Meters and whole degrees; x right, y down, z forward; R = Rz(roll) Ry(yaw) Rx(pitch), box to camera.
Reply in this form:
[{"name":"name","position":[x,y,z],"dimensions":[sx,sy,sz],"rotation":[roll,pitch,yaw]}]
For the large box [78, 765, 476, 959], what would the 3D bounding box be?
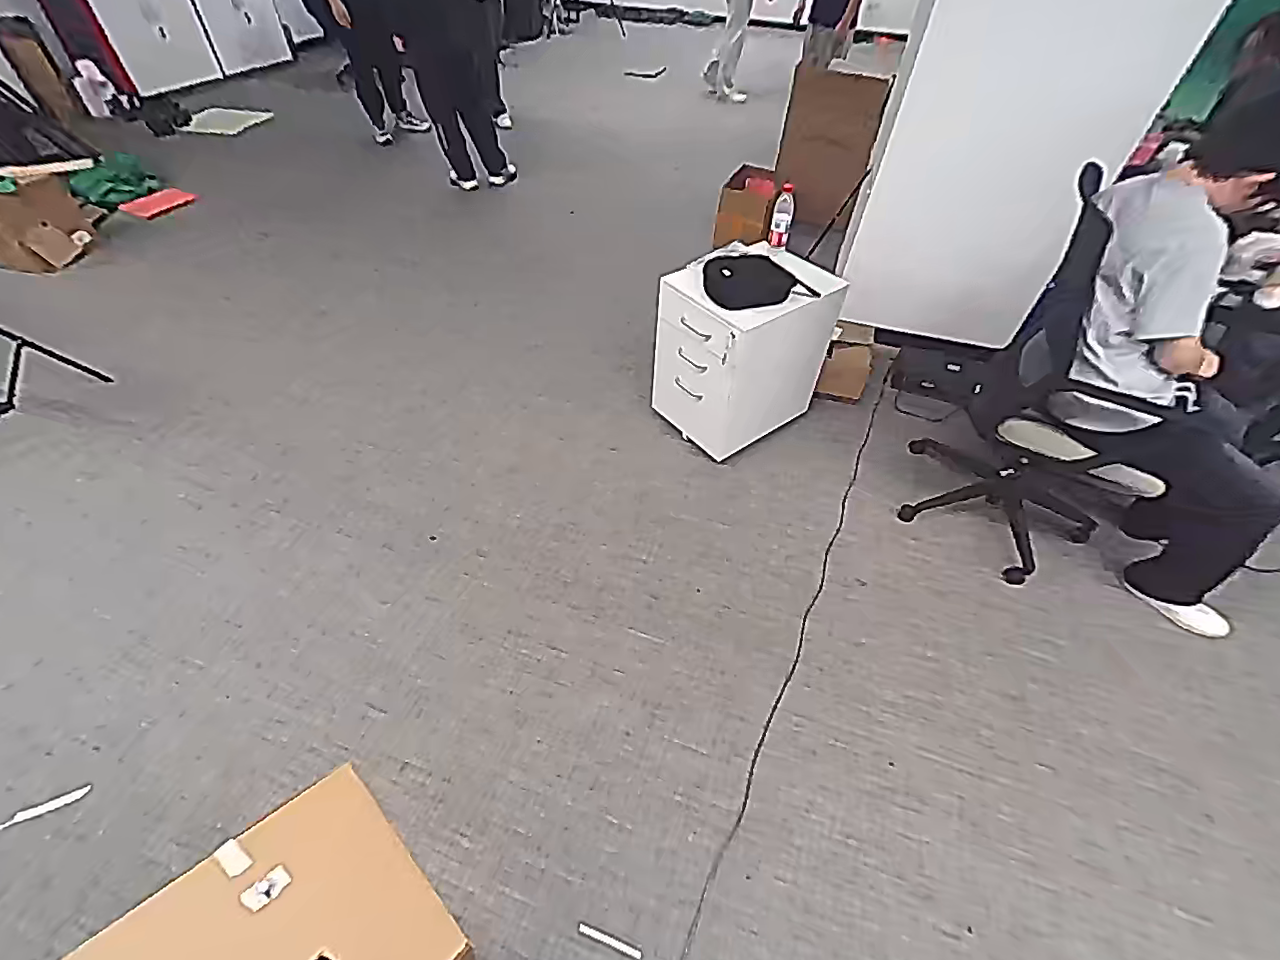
[{"name":"large box","position":[-0.418,0.681,0.709],"dimensions":[0.320,0.408,0.320],"rotation":[-27,43,-38]}]
